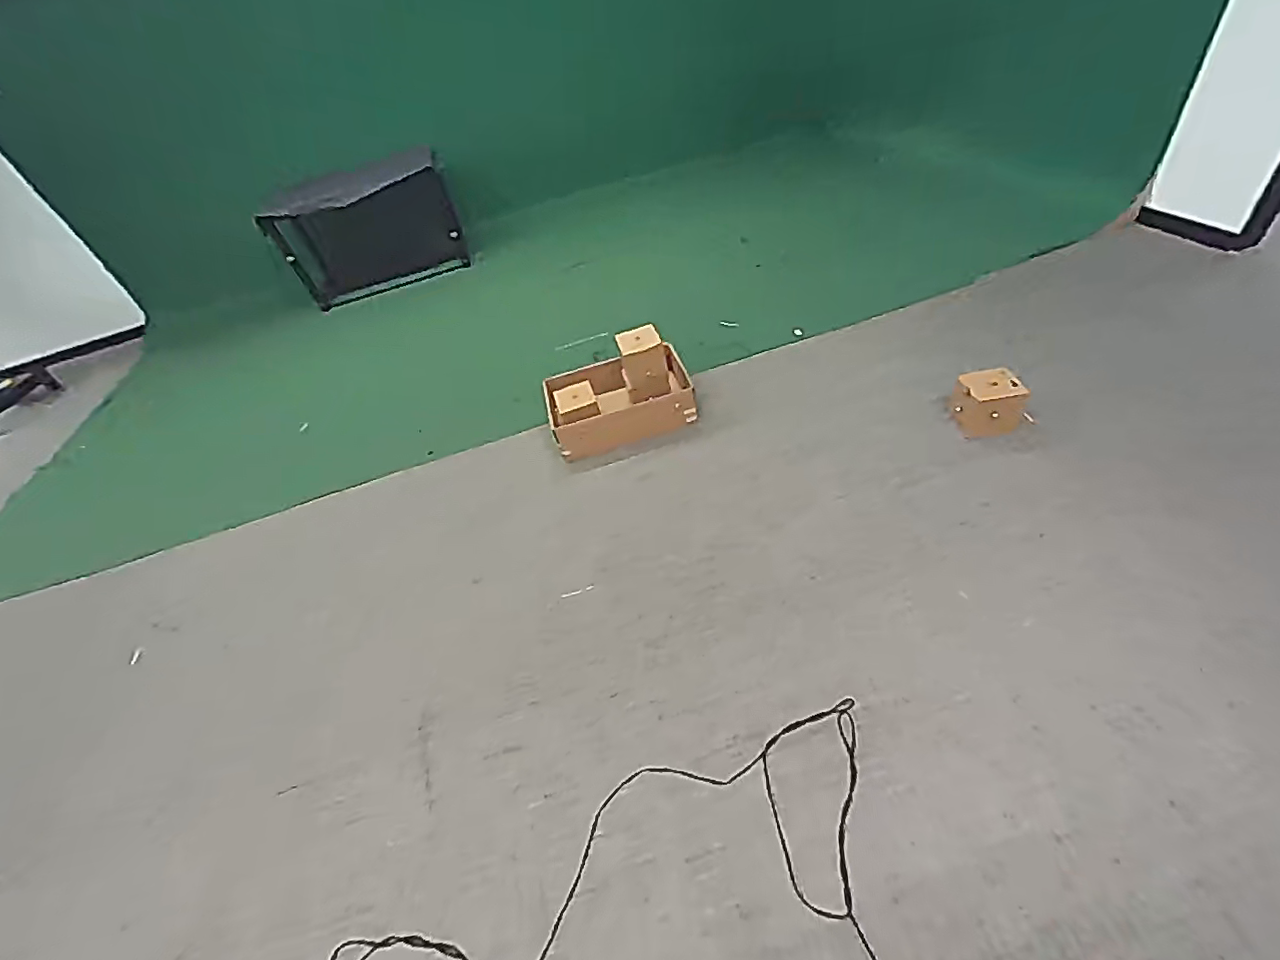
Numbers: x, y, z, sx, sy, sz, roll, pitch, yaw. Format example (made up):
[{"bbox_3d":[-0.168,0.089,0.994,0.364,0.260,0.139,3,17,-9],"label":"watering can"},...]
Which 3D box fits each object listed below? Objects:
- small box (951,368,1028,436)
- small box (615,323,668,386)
[{"bbox_3d":[1.255,-0.278,1.962,0.179,0.176,0.168,-11,44,7],"label":"small box"},{"bbox_3d":[0.007,-0.519,2.244,0.168,0.176,0.179,-18,45,-1],"label":"small box"}]
